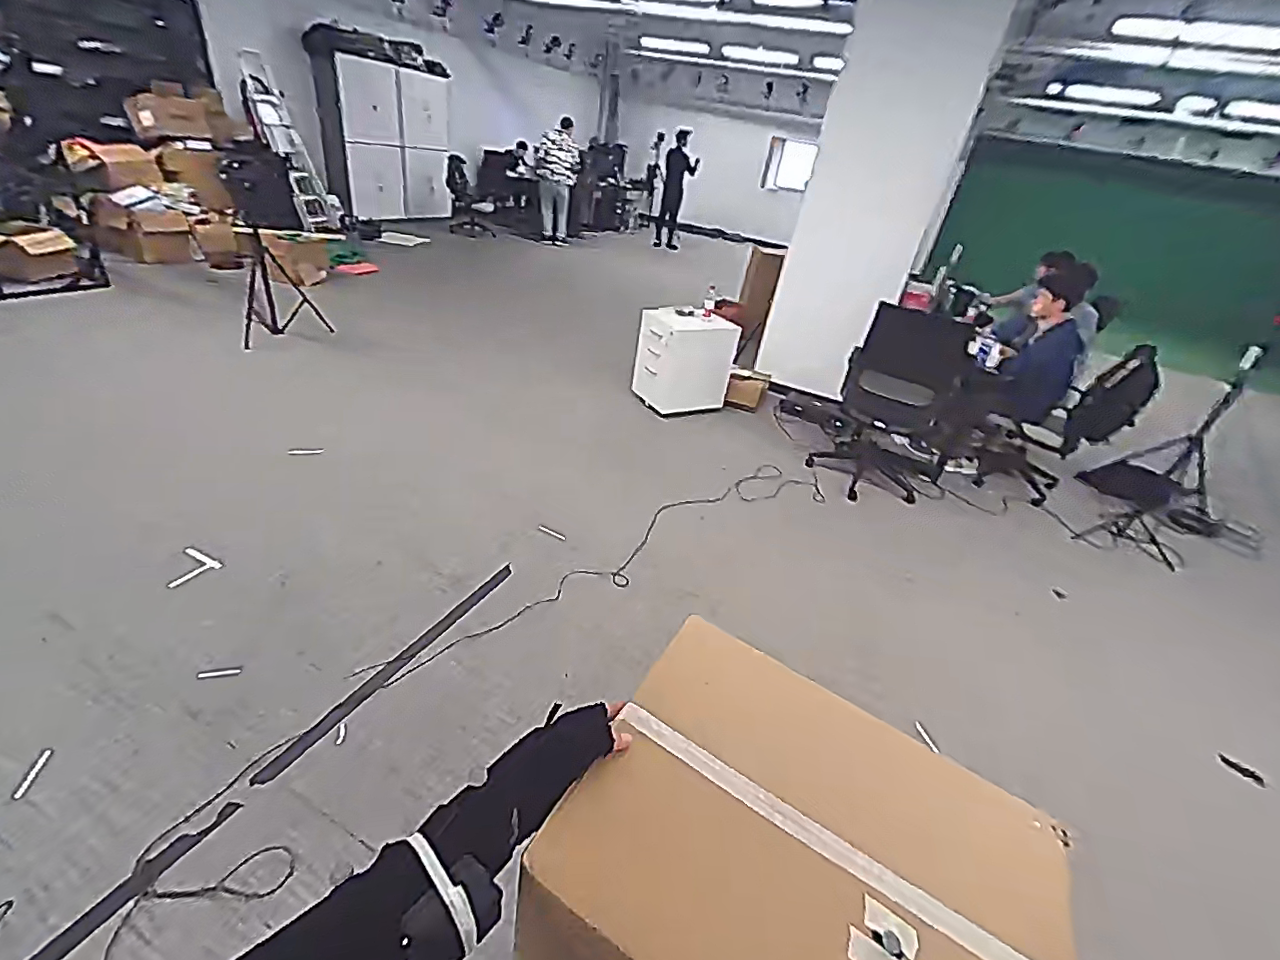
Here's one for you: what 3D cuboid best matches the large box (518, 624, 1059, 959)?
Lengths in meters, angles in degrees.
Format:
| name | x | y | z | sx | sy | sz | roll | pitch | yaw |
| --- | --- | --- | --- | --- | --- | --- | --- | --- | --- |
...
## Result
| name | x | y | z | sx | sy | sz | roll | pitch | yaw |
| --- | --- | --- | --- | --- | --- | --- | --- | --- | --- |
| large box | 0.129 | 0.438 | 0.568 | 0.408 | 0.320 | 0.320 | 27 | 39 | 19 |
